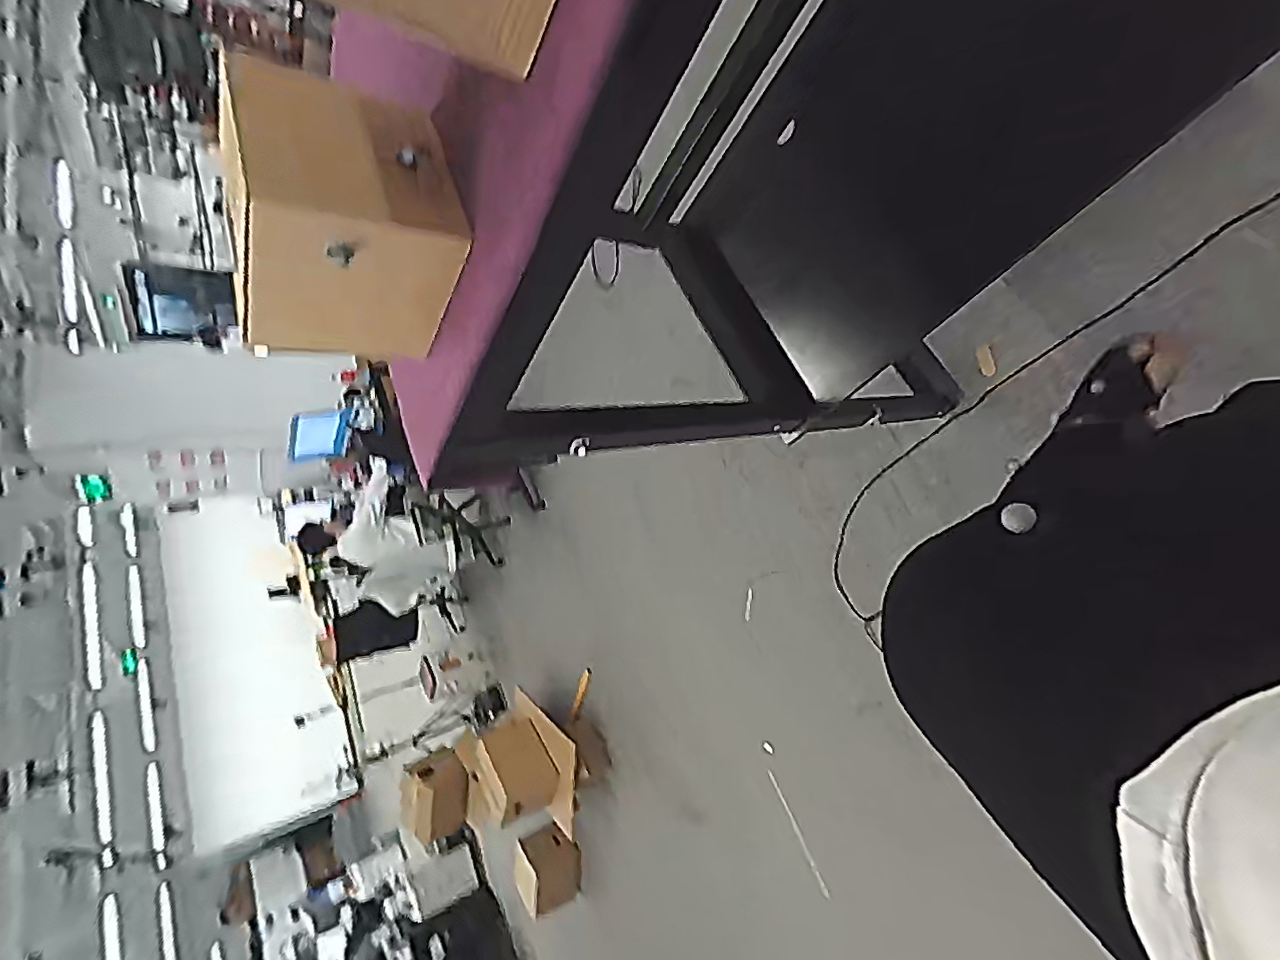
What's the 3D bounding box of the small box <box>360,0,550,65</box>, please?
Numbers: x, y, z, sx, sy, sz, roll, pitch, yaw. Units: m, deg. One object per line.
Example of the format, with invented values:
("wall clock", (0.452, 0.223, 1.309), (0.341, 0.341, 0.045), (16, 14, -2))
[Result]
("small box", (-0.130, -0.387, 0.301), (0.179, 0.176, 0.168), (-43, 62, 47))
